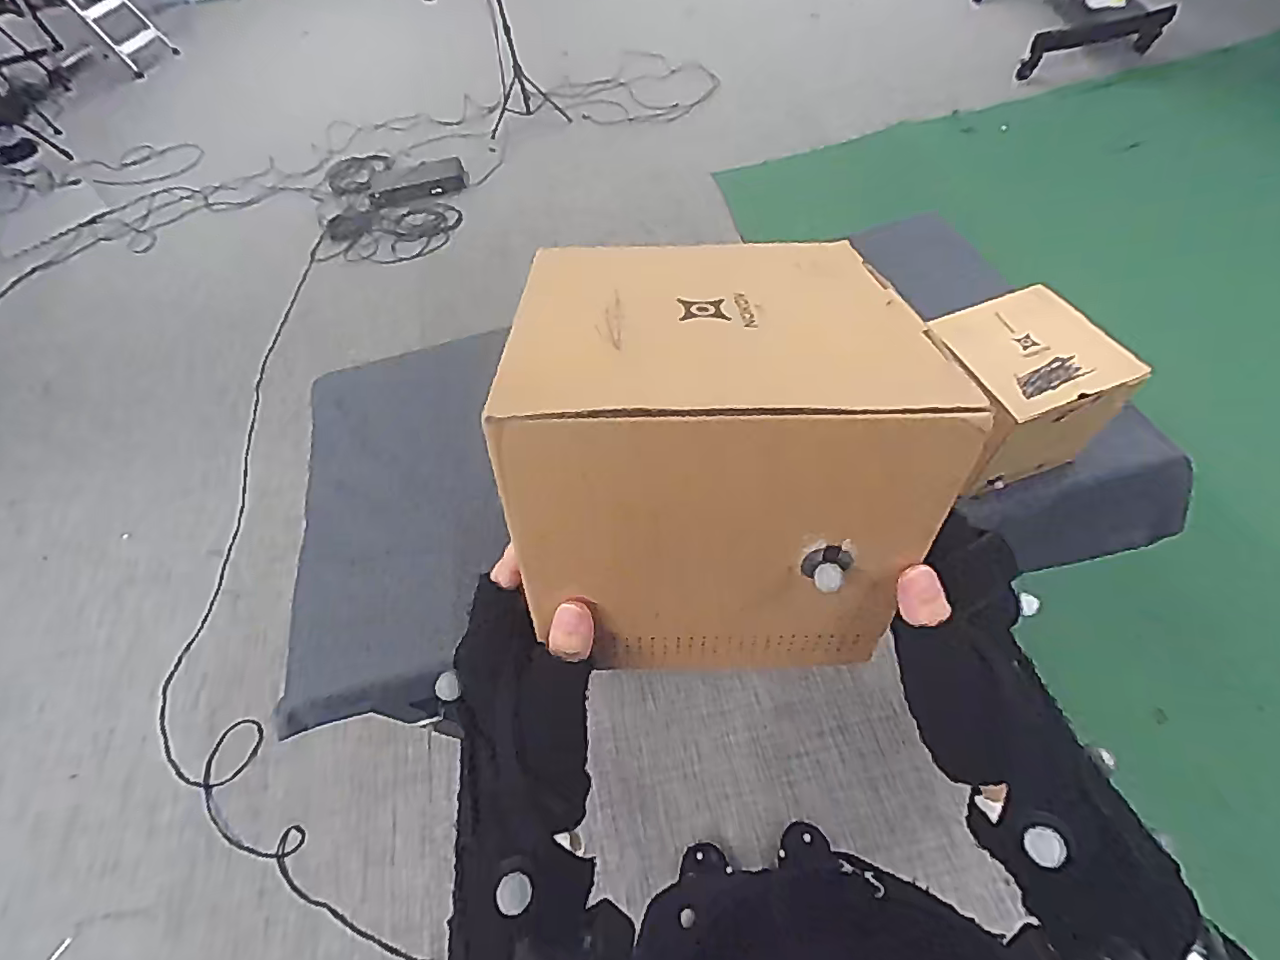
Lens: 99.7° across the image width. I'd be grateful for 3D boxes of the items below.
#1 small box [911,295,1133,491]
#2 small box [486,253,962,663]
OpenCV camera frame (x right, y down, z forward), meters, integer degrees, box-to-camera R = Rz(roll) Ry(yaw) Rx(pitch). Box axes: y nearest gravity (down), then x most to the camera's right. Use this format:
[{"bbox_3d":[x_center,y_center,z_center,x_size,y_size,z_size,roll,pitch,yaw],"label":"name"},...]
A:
[{"bbox_3d":[0.466,-0.104,0.715,0.168,0.176,0.179,-18,55,-3],"label":"small box"},{"bbox_3d":[0.031,-0.013,0.305,0.179,0.176,0.168,-2,41,0],"label":"small box"}]
